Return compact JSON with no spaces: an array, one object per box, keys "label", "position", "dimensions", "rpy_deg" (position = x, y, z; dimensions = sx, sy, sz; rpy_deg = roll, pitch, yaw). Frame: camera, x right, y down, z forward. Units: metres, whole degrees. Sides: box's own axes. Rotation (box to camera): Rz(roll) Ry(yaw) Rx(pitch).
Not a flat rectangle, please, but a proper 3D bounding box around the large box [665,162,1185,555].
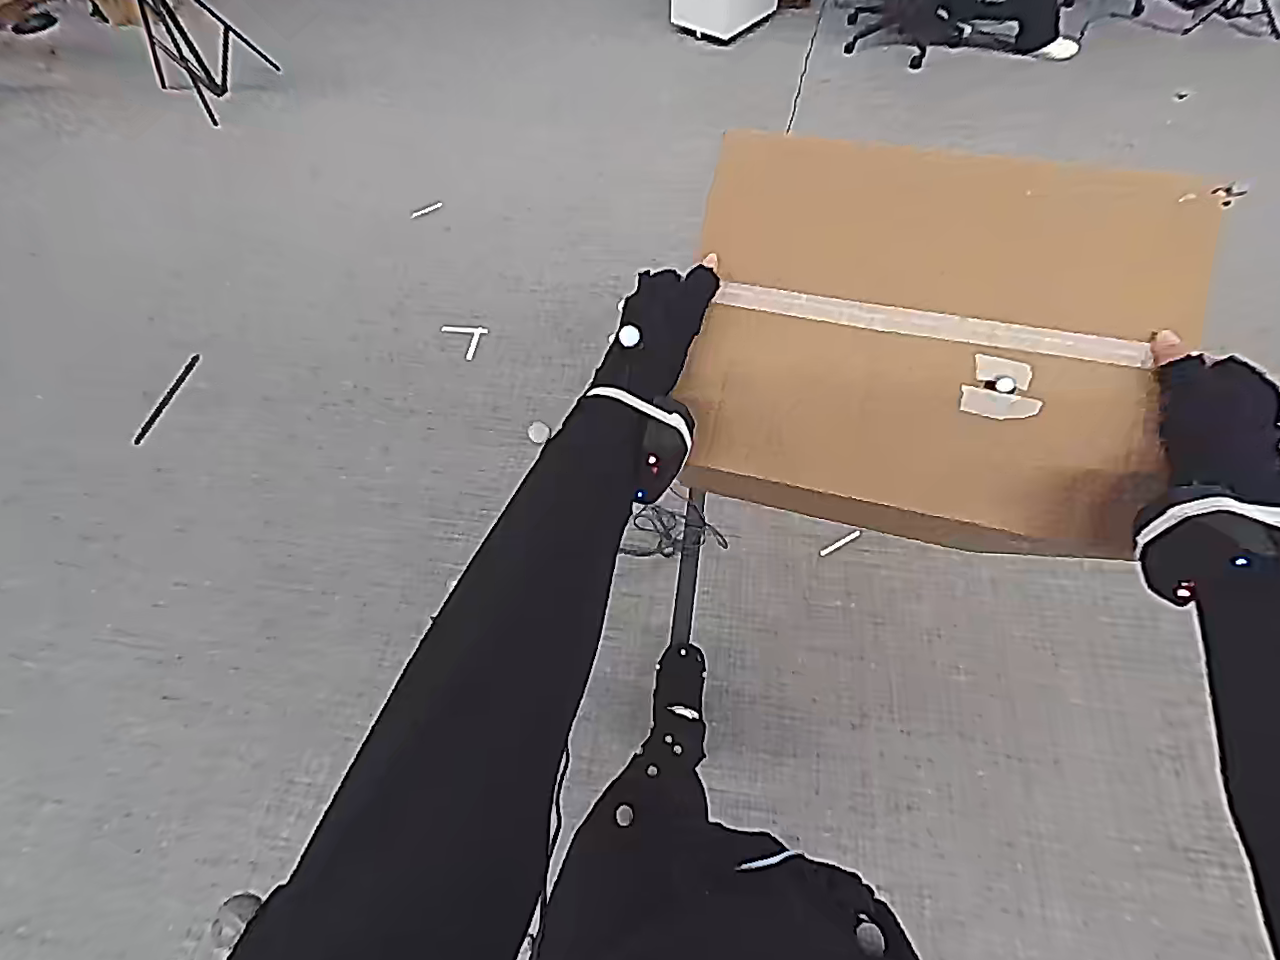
[{"label":"large box","position":[0.263,-0.109,0.628],"dimensions":[0.408,0.320,0.320],"rpy_deg":[12,87,9]}]
